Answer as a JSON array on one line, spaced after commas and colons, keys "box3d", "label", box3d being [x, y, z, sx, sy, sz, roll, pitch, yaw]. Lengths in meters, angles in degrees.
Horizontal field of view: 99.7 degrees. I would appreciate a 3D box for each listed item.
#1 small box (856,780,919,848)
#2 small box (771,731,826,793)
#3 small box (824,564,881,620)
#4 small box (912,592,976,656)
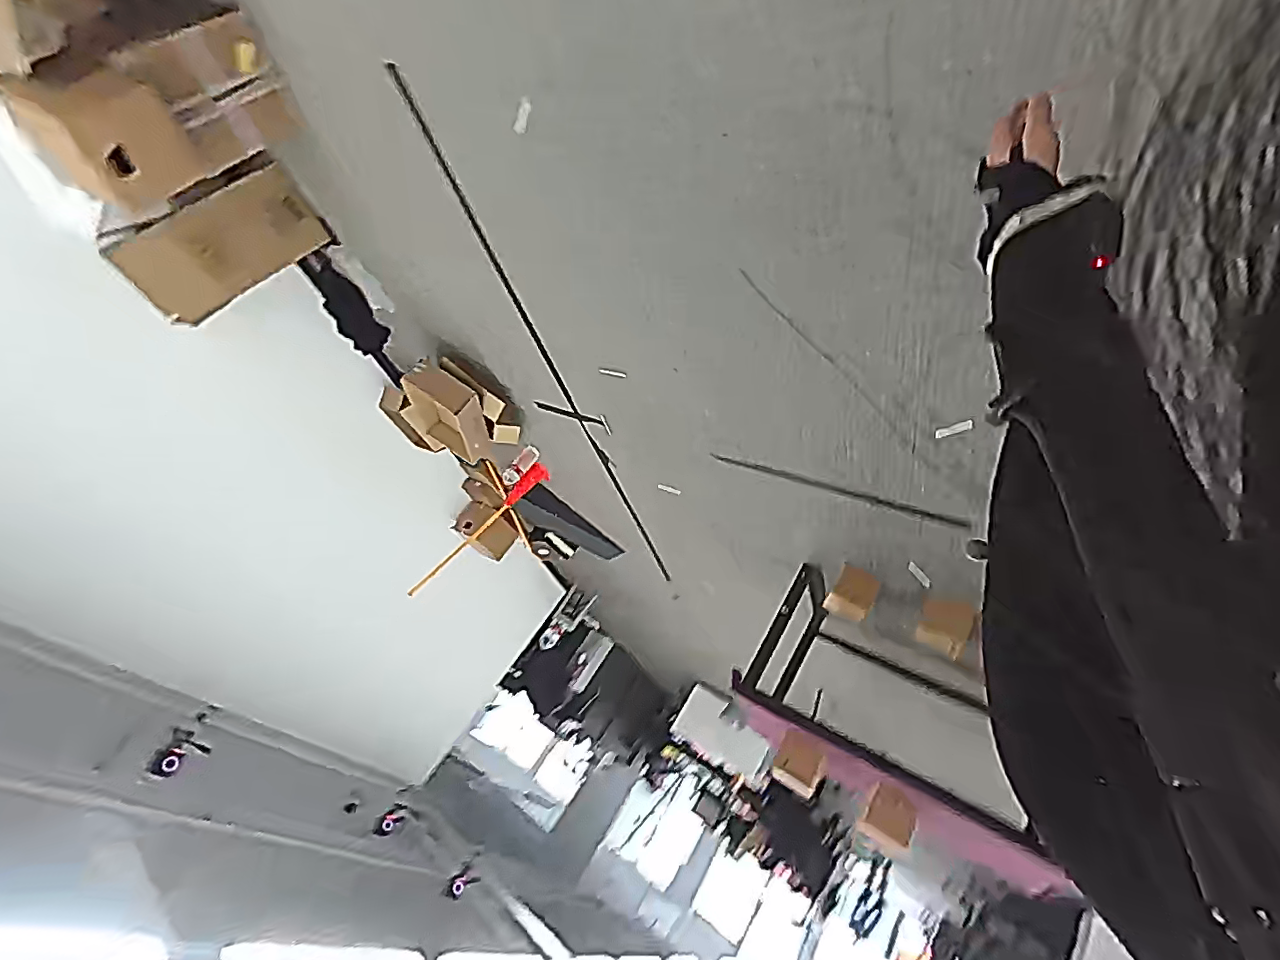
[{"box3d": [0.984, 1.327, 2.150, 0.168, 0.176, 0.179, 25, 152, 24], "label": "small box"}, {"box3d": [0.688, 1.211, 2.338, 0.179, 0.176, 0.168, 19, 151, 33], "label": "small box"}, {"box3d": [0.977, 0.508, 2.486, 0.179, 0.176, 0.168, 27, 153, 19], "label": "small box"}, {"box3d": [1.263, 0.592, 2.251, 0.179, 0.176, 0.168, 22, 151, 31], "label": "small box"}]
